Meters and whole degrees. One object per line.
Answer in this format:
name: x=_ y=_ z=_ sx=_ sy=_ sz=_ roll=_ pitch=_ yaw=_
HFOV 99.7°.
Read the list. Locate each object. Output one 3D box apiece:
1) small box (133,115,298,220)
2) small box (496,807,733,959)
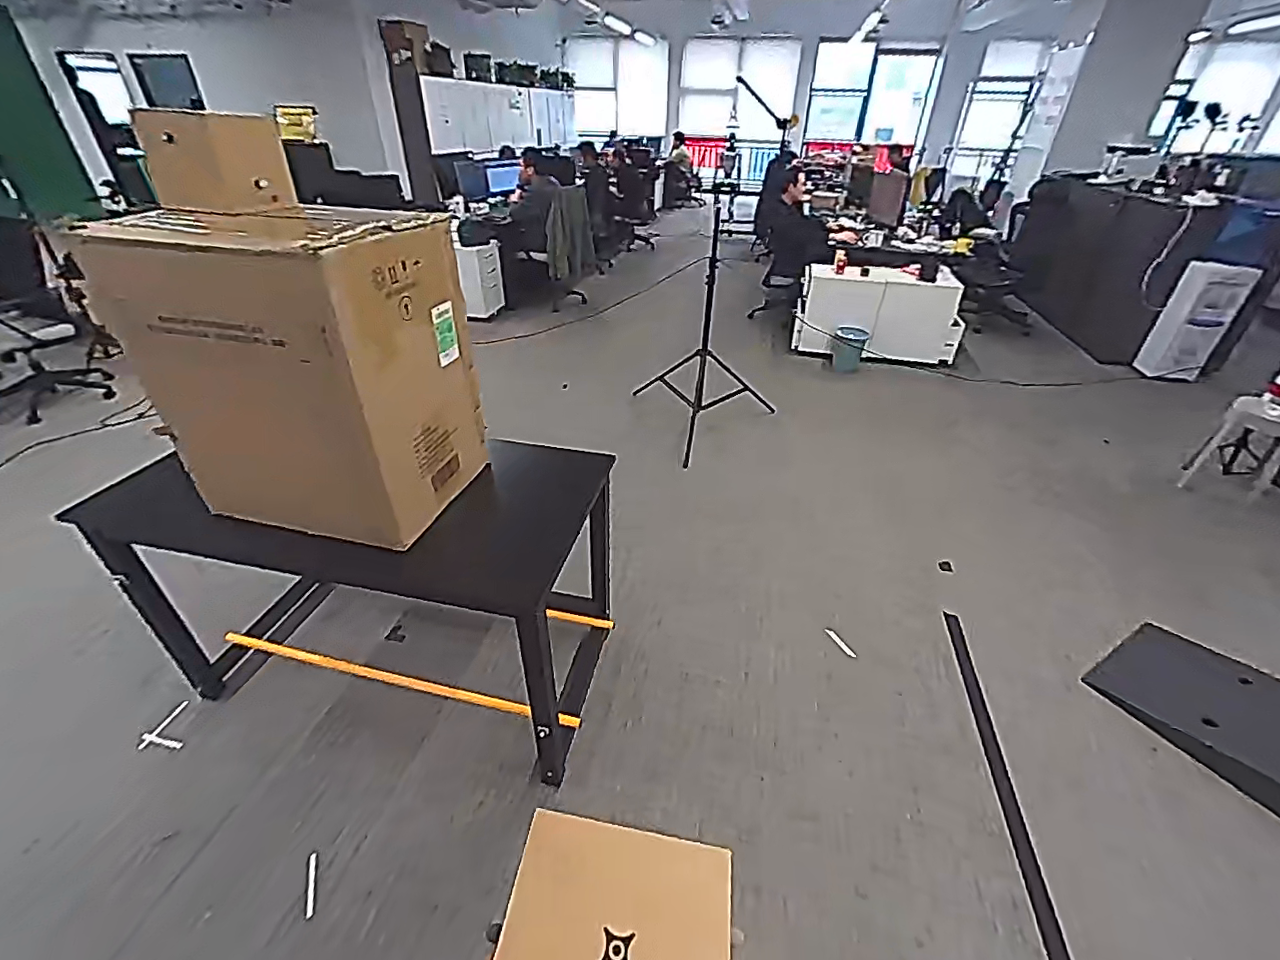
small box: x=-0.839 y=-0.626 z=1.089 sx=0.179 sy=0.176 sz=0.168 roll=10 pitch=33 yaw=10
small box: x=-0.026 y=0.397 z=0.422 sx=0.168 sy=0.176 sz=0.179 roll=9 pitch=37 yaw=3
